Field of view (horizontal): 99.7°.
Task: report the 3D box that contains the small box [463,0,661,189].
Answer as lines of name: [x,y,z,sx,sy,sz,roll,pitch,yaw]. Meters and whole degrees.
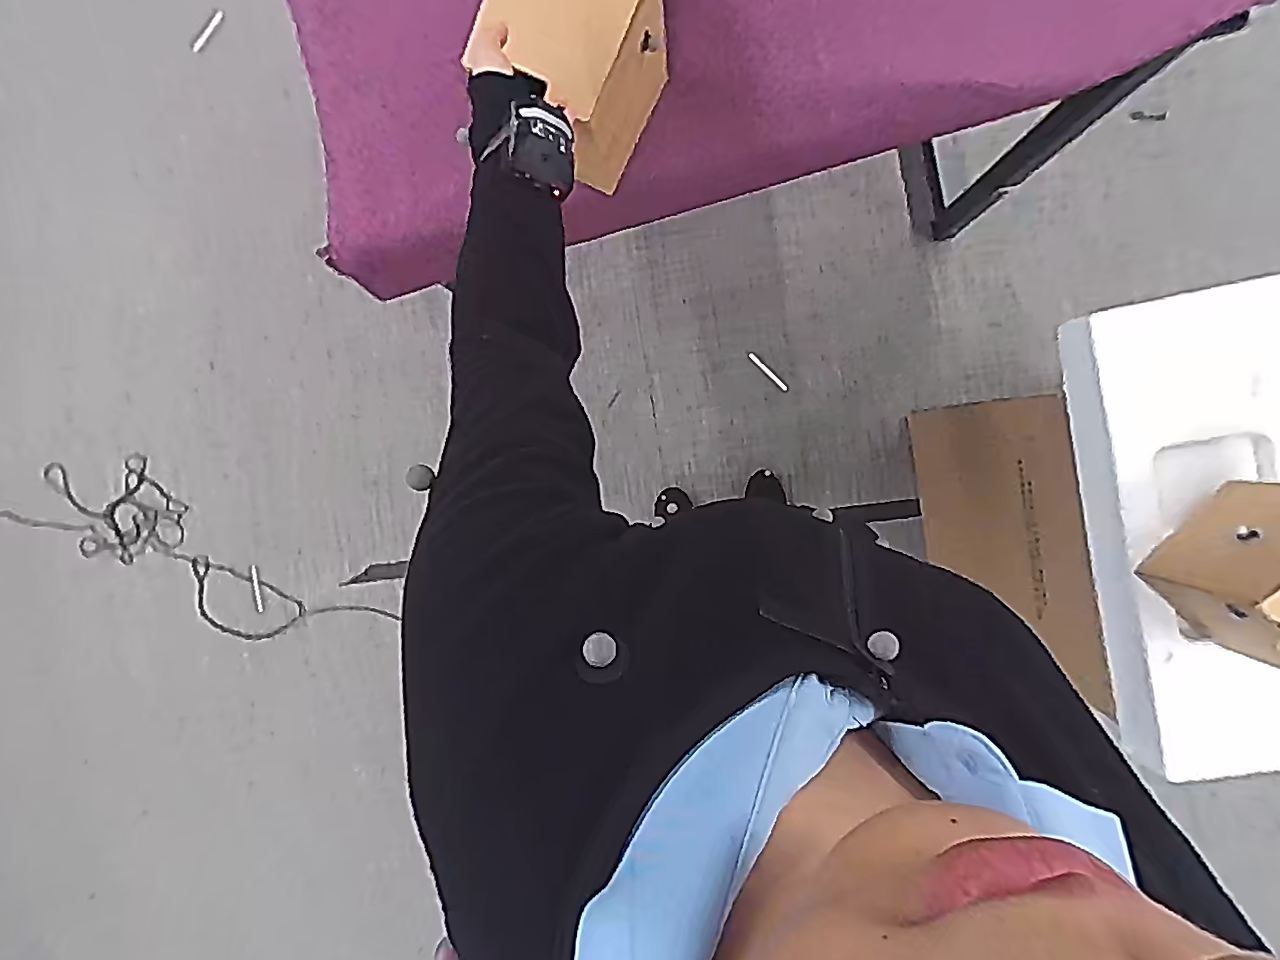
small box: [-0.082,-0.510,0.671,0.168,0.176,0.179,27,95,5]
